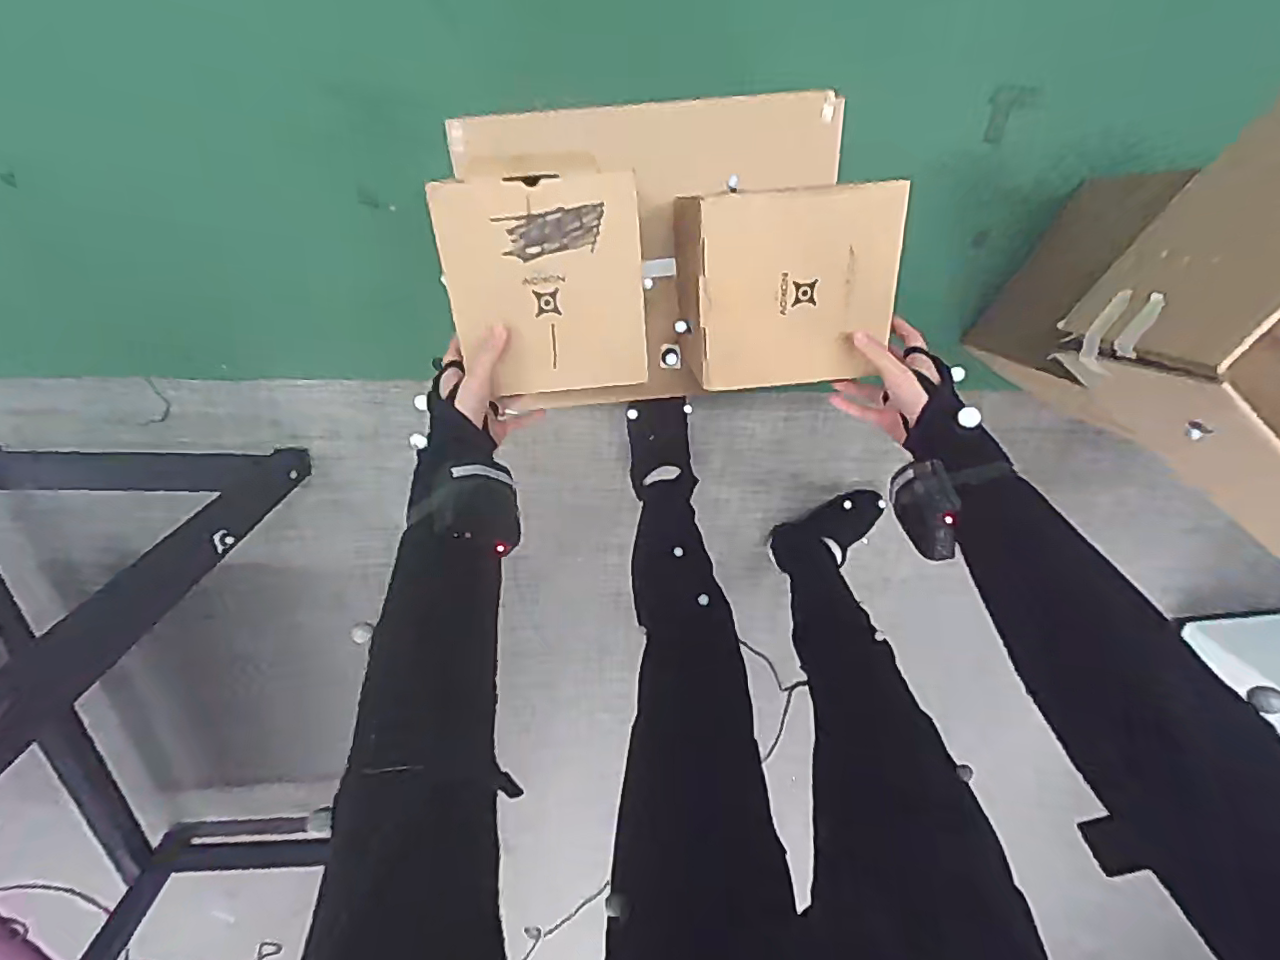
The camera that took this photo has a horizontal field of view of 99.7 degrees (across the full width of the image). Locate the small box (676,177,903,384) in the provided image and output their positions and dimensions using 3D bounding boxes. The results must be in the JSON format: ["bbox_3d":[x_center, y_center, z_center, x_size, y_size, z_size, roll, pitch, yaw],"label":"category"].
[{"bbox_3d":[0.130,-0.205,0.549,0.179,0.176,0.168,-5,118,-2],"label":"small box"}]

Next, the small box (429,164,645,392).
[{"bbox_3d":[-0.087,-0.200,0.534,0.168,0.176,0.179,-5,117,-2],"label":"small box"}]
